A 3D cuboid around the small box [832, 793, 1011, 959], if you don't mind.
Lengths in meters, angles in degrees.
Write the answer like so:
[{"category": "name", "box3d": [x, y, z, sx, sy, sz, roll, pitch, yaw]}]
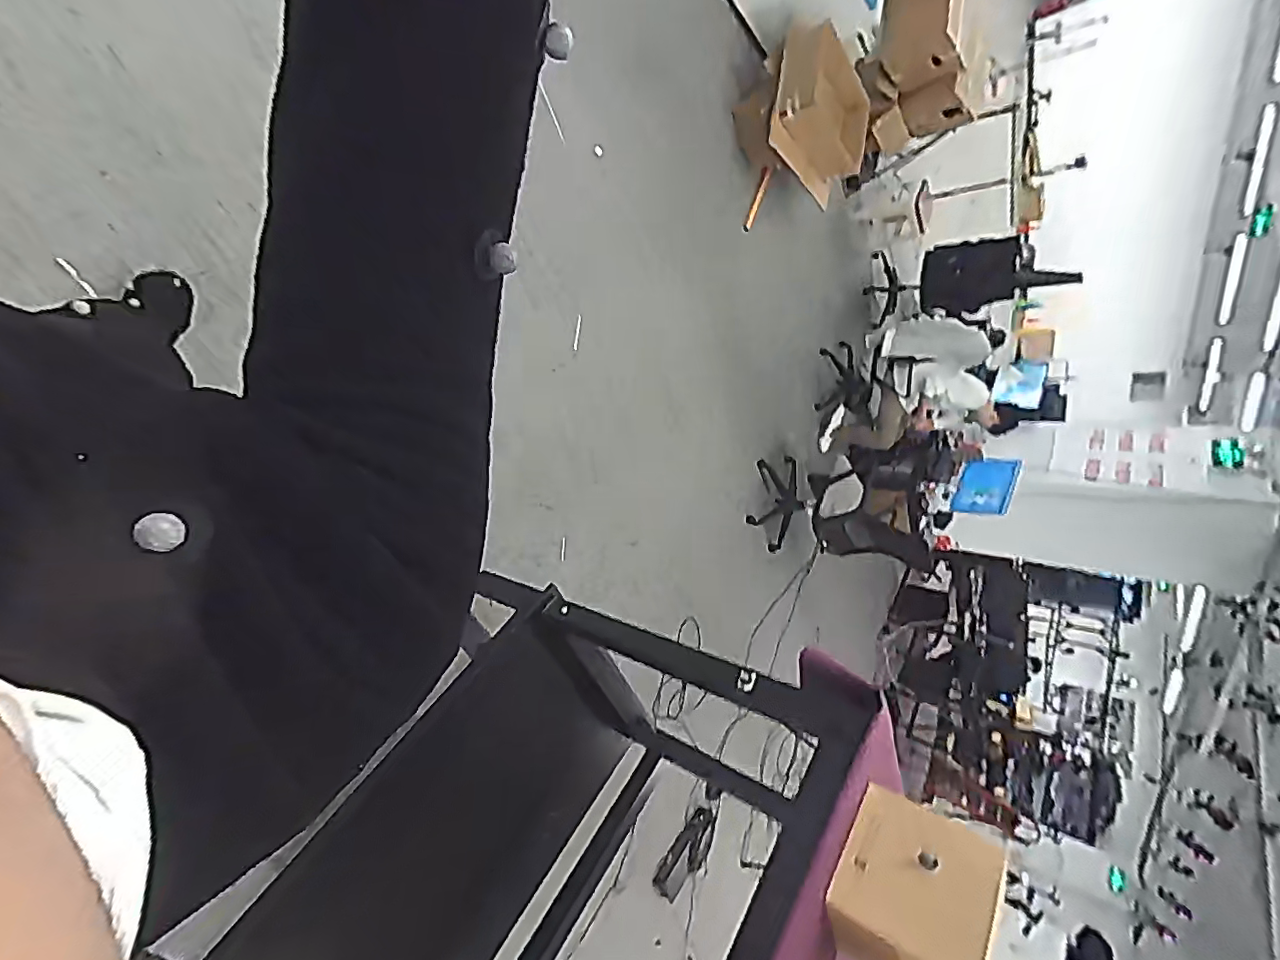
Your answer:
[{"category": "small box", "box3d": [0.357, 0.541, 0.692, 0.168, 0.176, 0.179, -44, 128, -35]}]
